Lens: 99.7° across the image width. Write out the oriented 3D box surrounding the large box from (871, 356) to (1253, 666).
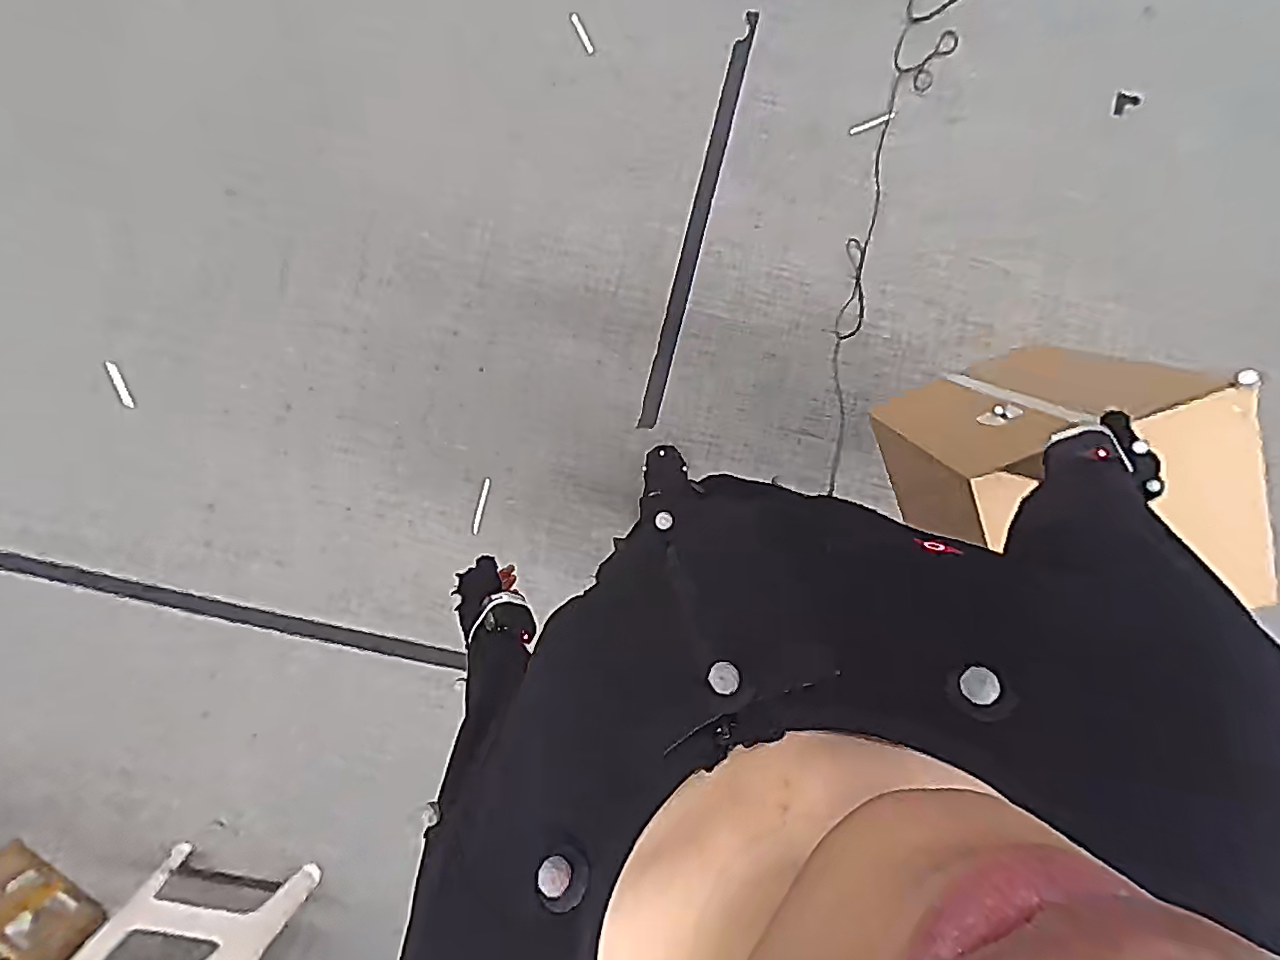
[{"bbox_3d":[0.632,0.021,0.882,0.320,0.408,0.320,-21,108,11],"label":"large box"}]
